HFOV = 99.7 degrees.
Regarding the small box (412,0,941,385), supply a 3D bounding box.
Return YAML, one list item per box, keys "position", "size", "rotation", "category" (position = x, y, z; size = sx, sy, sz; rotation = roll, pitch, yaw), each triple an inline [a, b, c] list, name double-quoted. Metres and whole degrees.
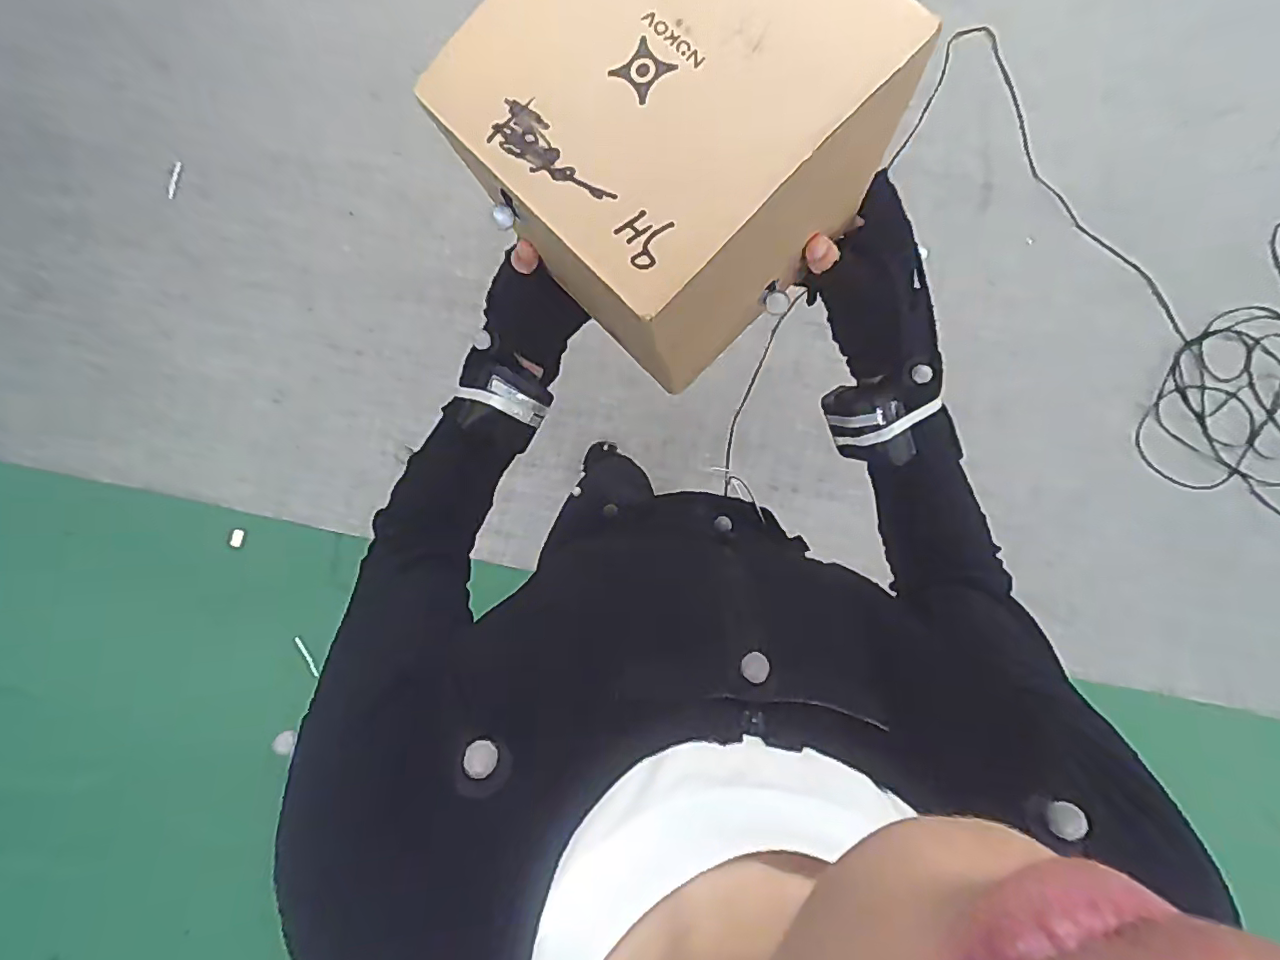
- position: [0.019, -0.183, 0.314]
  size: [0.179, 0.176, 0.168]
  rotation: [-44, 83, 4]
  category: "small box"
